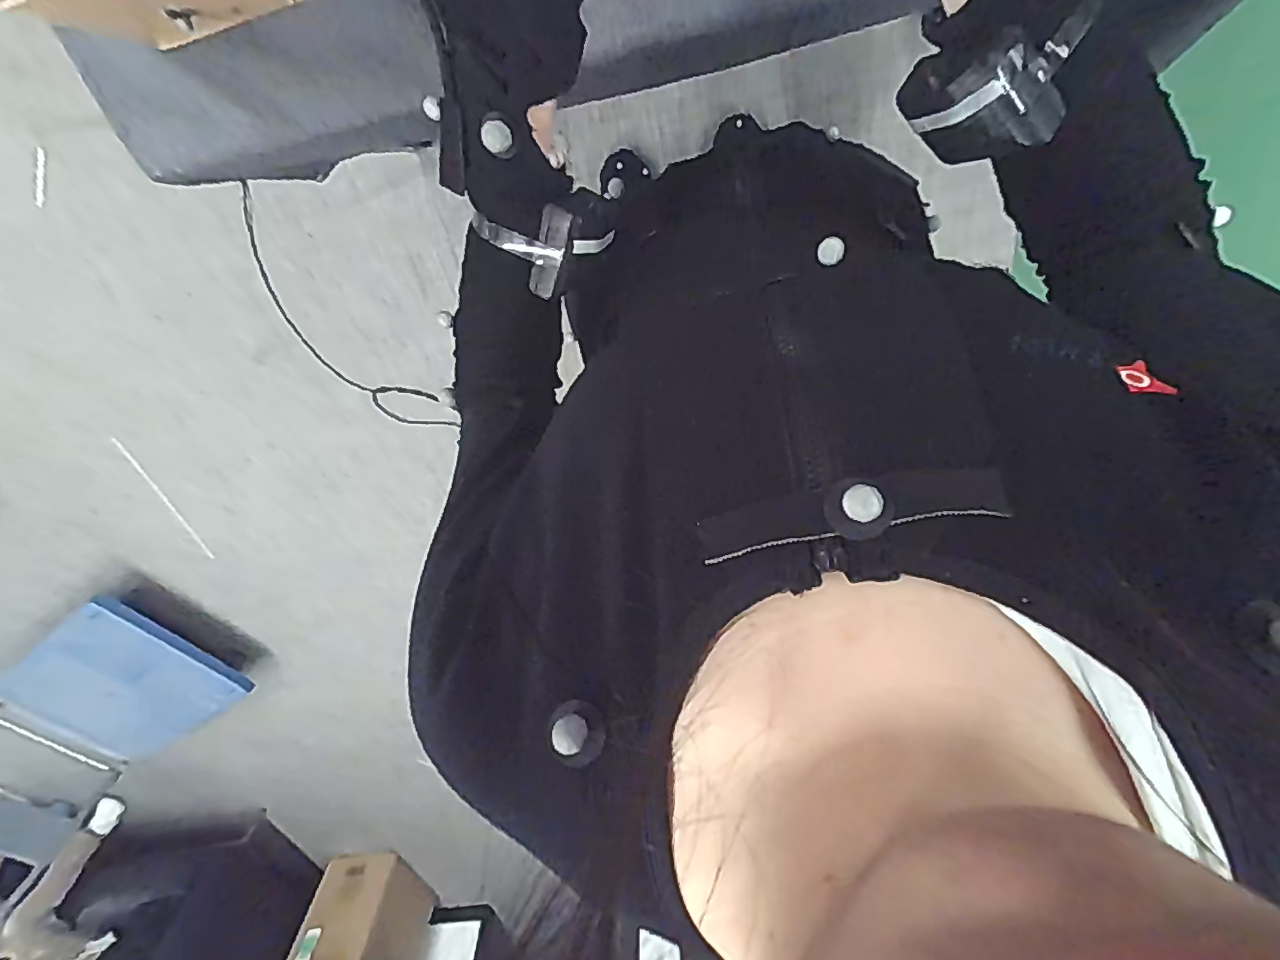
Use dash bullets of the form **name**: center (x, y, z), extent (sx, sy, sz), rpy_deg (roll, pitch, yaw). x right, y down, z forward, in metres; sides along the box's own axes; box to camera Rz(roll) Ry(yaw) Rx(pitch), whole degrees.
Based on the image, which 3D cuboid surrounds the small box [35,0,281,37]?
- **small box**: center (-0.418, -0.478, 0.409), extent (0.168, 0.176, 0.179), rpy_deg (-12, 121, 8)
